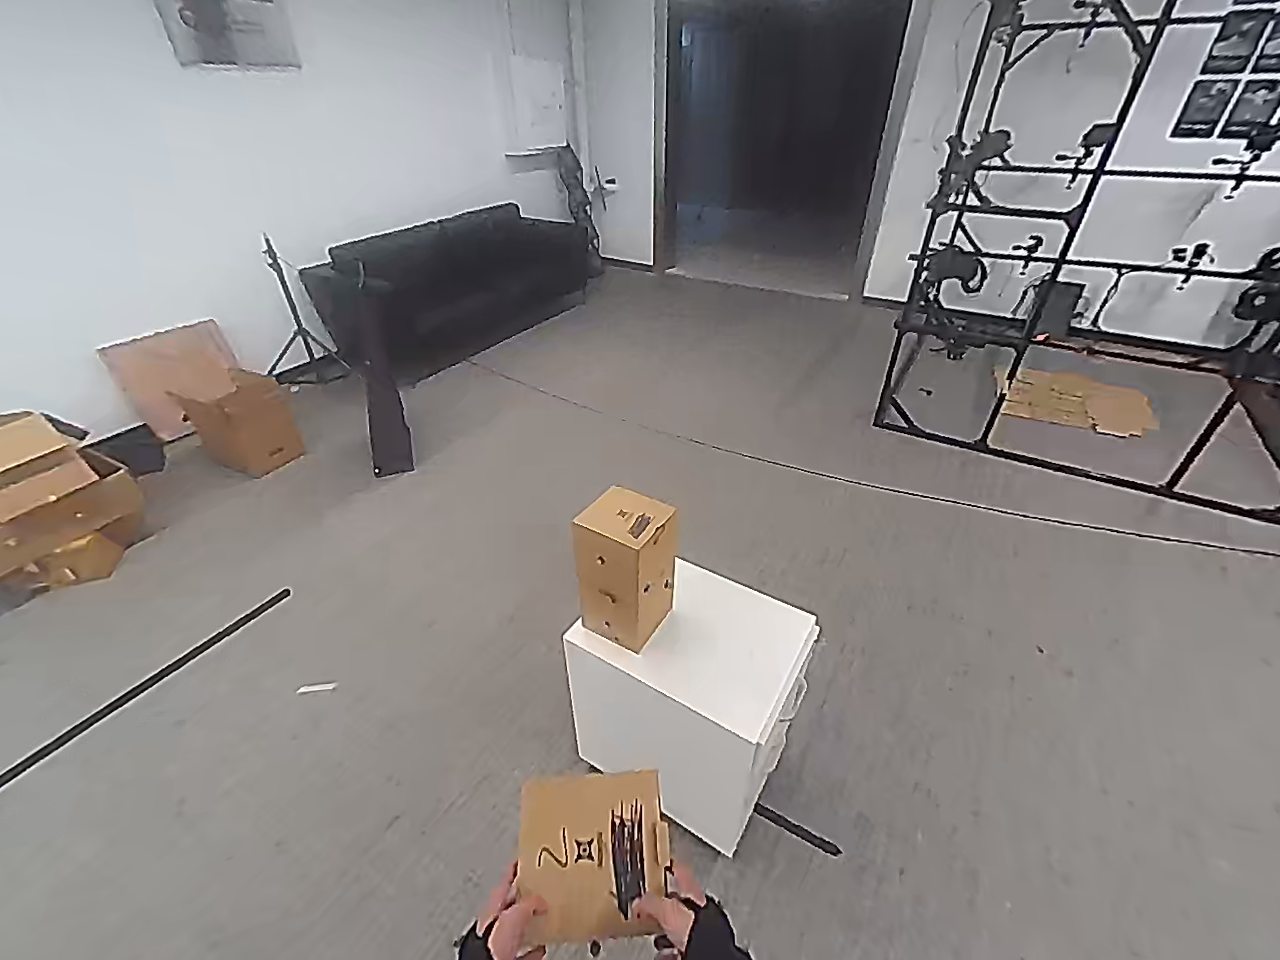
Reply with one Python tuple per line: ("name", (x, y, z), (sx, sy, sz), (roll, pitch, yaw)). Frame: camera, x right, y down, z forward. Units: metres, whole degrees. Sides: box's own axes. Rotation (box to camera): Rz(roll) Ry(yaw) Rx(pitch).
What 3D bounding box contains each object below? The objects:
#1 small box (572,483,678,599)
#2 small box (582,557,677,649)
("small box", (-0.030, 0.138, 1.213), (0.179, 0.176, 0.168), (20, 40, 26))
("small box", (-0.025, 0.270, 1.313), (0.168, 0.176, 0.179), (20, 40, 26))
